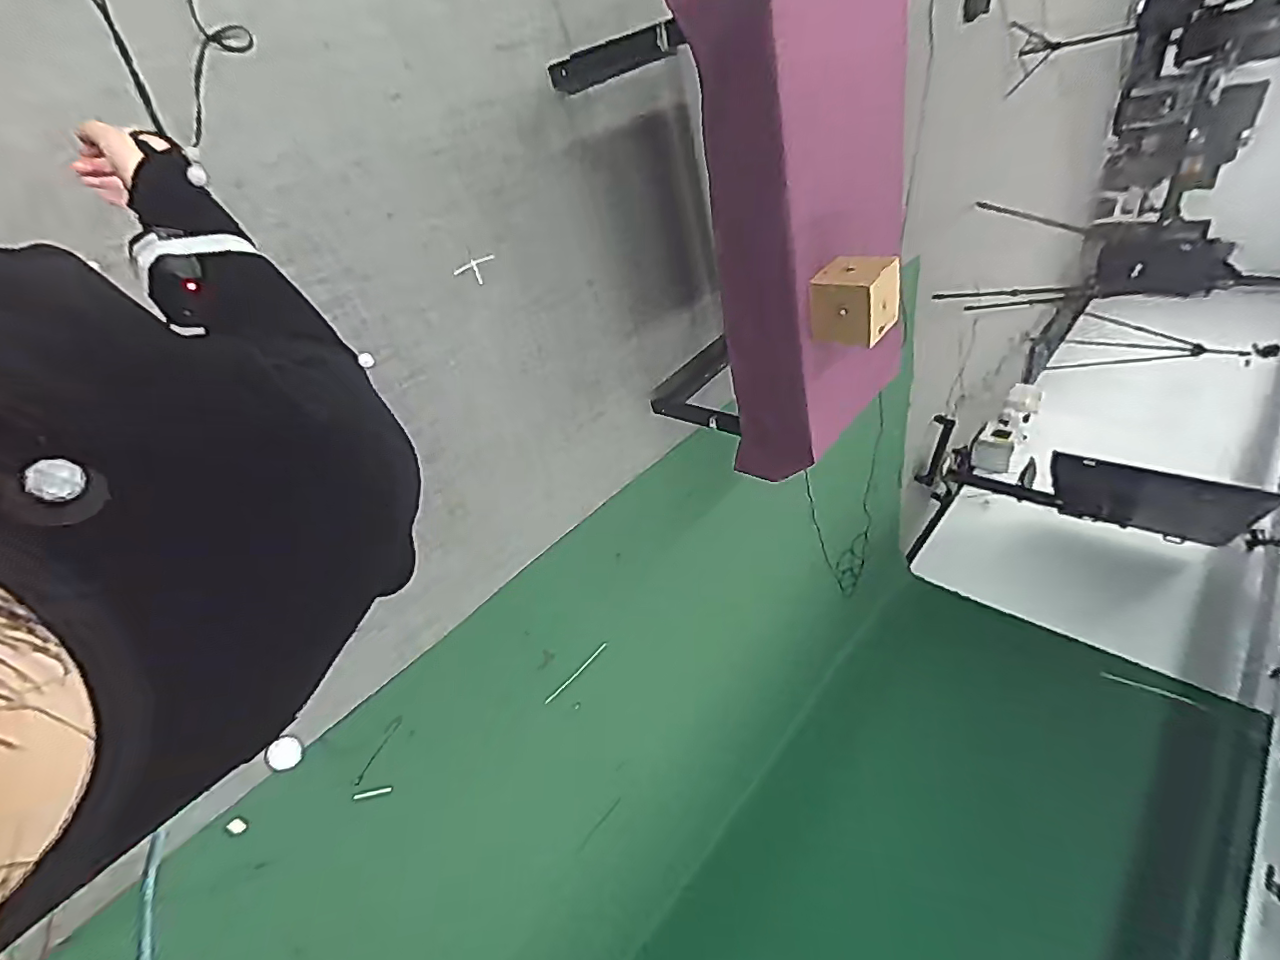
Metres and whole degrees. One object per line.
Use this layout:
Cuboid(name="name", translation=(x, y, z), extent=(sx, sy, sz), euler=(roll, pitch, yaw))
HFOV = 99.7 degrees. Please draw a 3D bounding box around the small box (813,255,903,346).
Cuboid(name="small box", translation=(0.575, -0.475, 1.431), extent=(0.168, 0.176, 0.179), euler=(-43, 132, -26))
